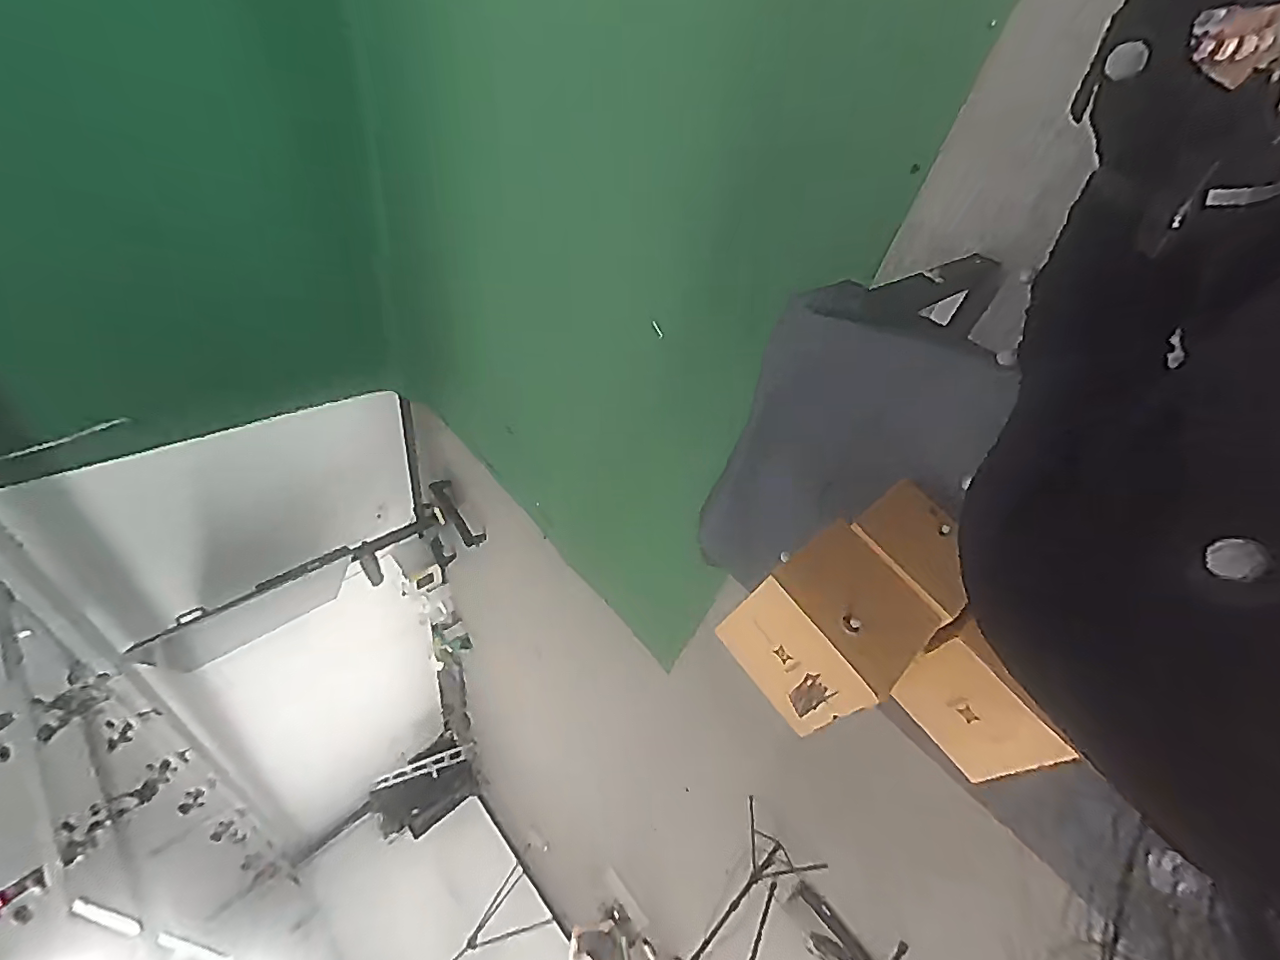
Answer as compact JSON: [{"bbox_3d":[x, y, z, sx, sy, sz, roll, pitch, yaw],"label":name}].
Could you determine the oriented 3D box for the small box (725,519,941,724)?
[{"bbox_3d":[0.254,0.182,0.718,0.179,0.176,0.168,50,142,19],"label":"small box"}]
